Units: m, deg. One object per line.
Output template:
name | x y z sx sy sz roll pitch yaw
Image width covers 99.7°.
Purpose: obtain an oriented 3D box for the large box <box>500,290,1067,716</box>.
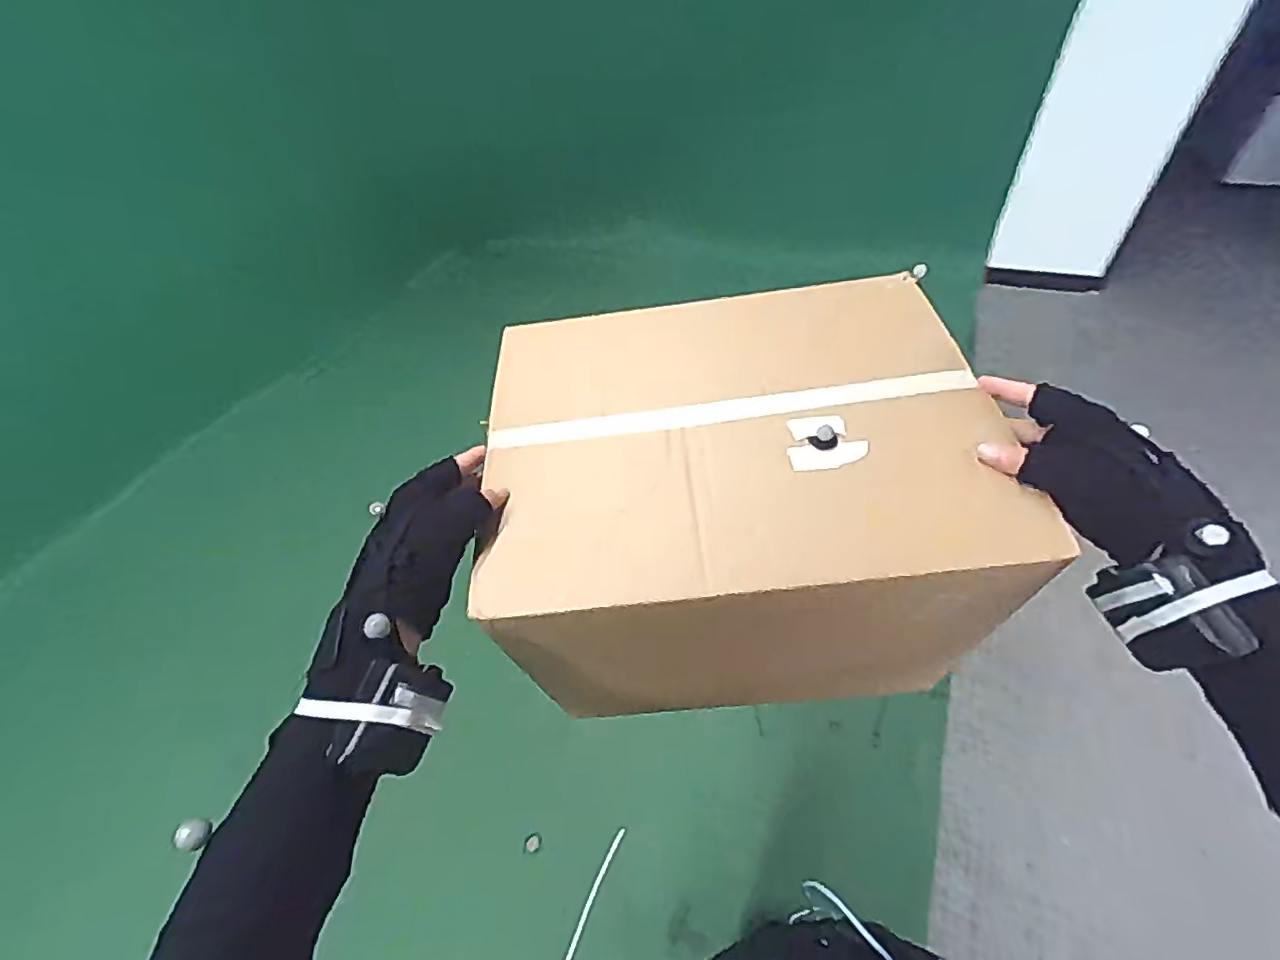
large box | 0.100 0.040 0.581 0.408 0.320 0.320 -6 54 3
